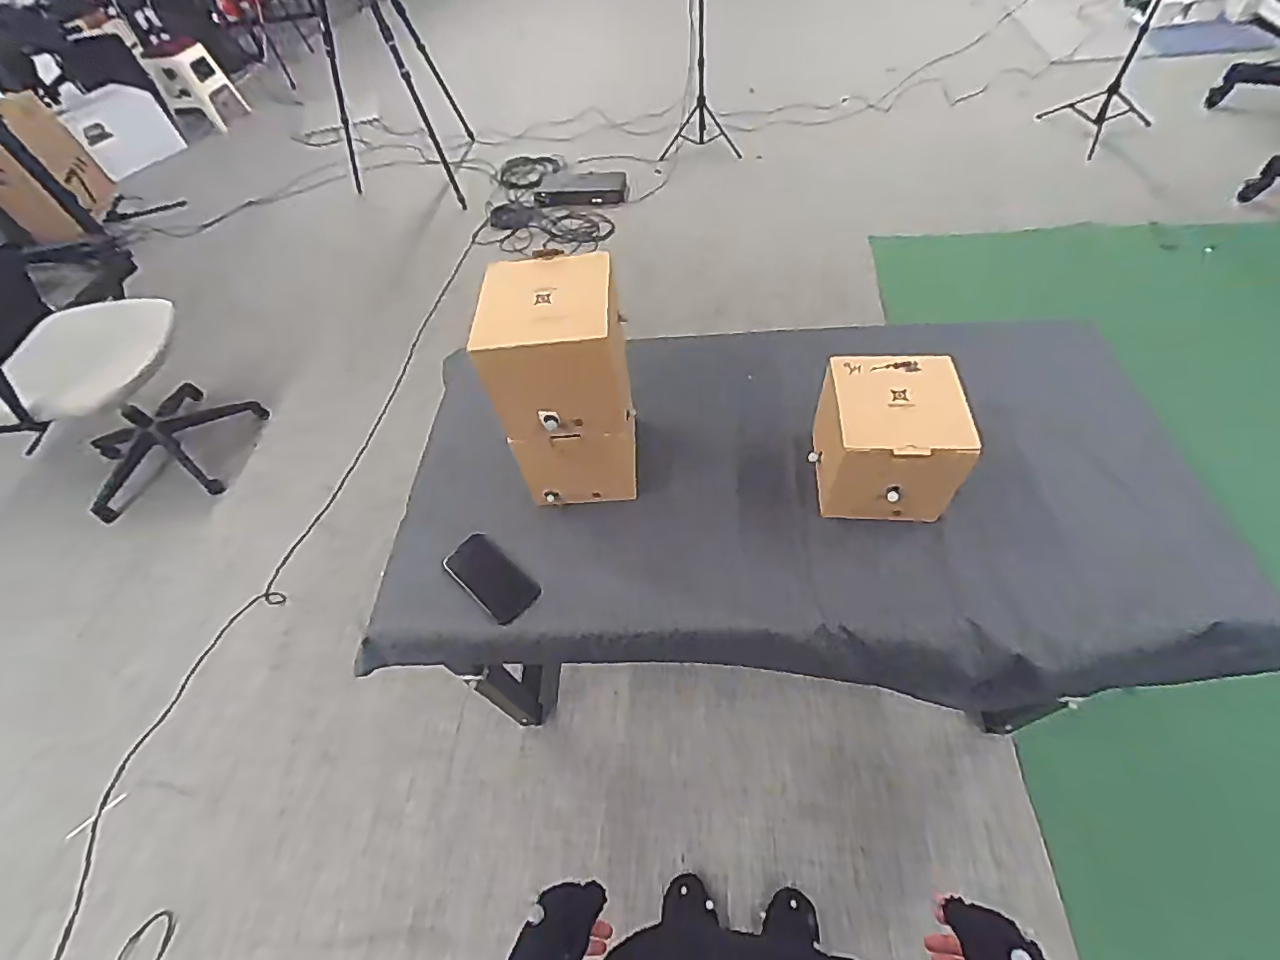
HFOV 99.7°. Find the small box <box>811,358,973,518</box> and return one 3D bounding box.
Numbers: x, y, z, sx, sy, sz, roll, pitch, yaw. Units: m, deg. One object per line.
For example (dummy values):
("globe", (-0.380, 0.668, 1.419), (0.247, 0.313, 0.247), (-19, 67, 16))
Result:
("small box", (0.354, -0.058, 0.797), (0.168, 0.176, 0.179), (2, 55, 8))

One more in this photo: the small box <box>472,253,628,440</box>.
("small box", (-0.108, -0.177, 0.732), (0.168, 0.176, 0.179), (-5, 55, 4))

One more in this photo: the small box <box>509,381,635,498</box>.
("small box", (-0.097, -0.082, 0.863), (0.168, 0.176, 0.179), (-4, 53, 3))
